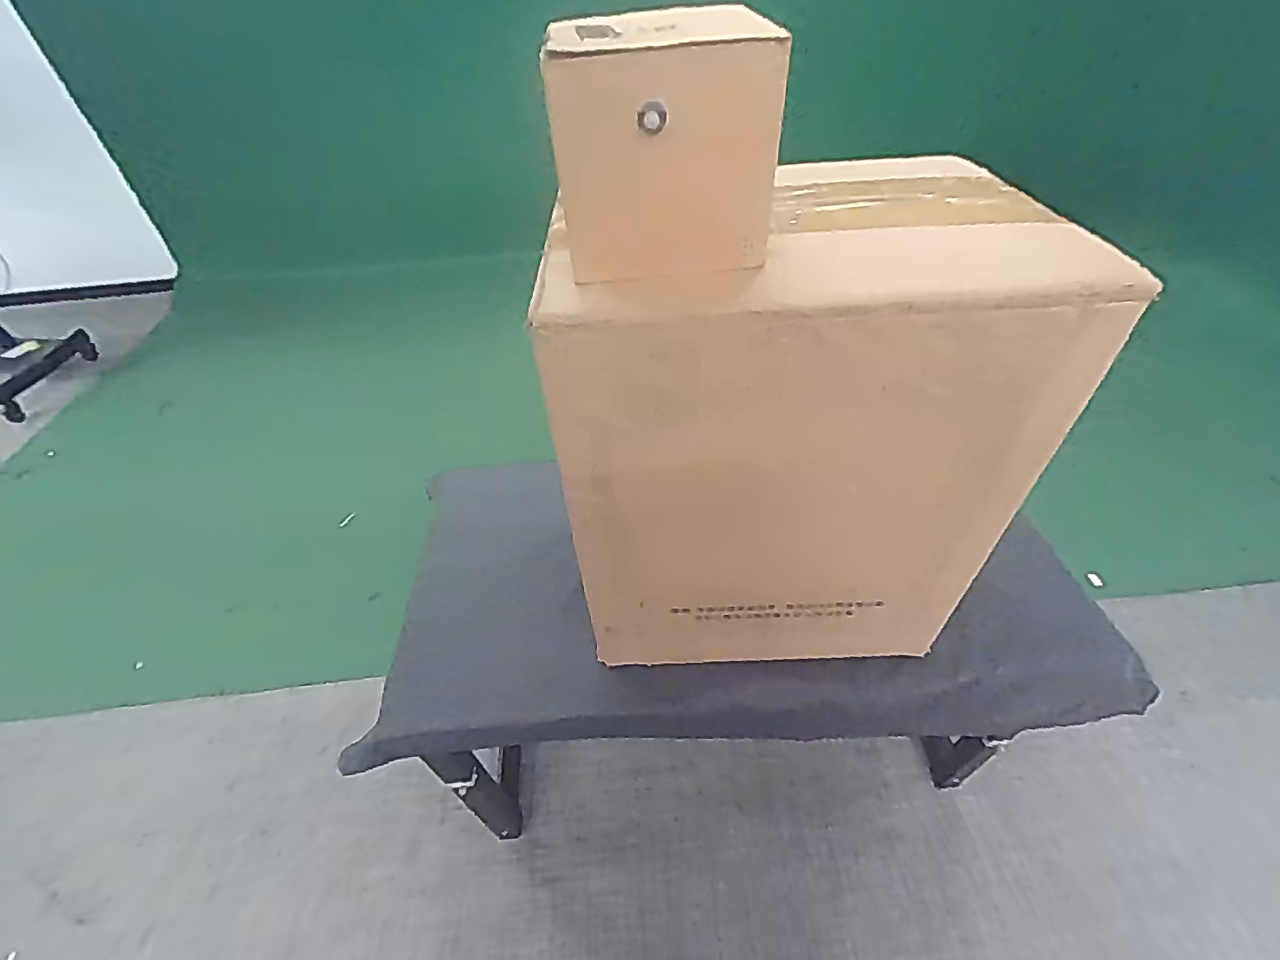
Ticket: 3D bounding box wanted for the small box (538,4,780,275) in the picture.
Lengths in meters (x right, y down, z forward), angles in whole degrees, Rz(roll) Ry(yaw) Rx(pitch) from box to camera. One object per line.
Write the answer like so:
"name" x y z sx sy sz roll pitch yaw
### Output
"small box" 0.019 -0.303 0.492 0.179 0.176 0.168 -3 49 3
